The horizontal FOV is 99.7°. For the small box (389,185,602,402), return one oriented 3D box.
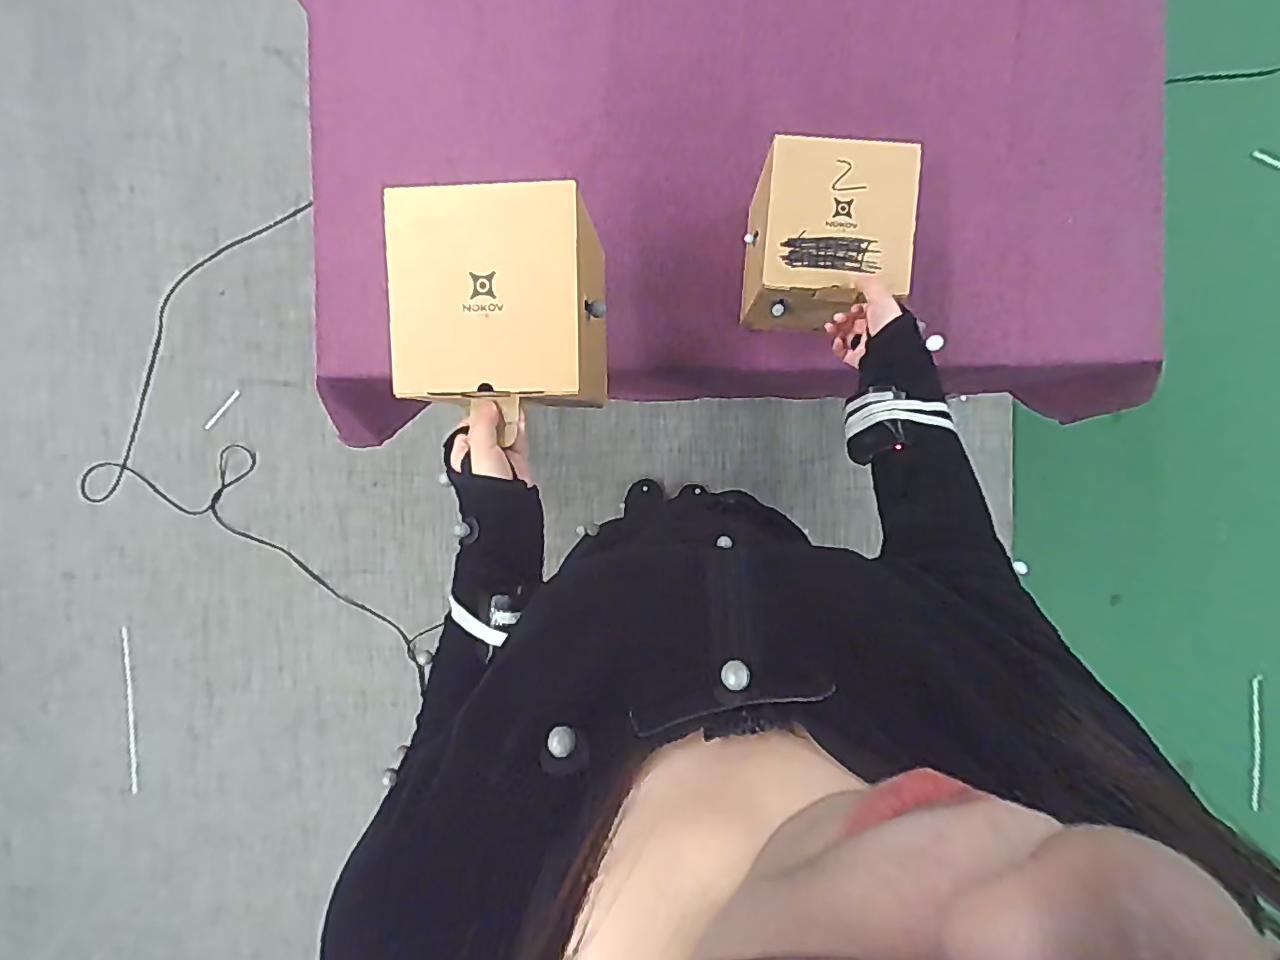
[{"bbox_3d":[-0.132,-0.172,0.550,0.168,0.176,0.179,0,96,4],"label":"small box"}]
